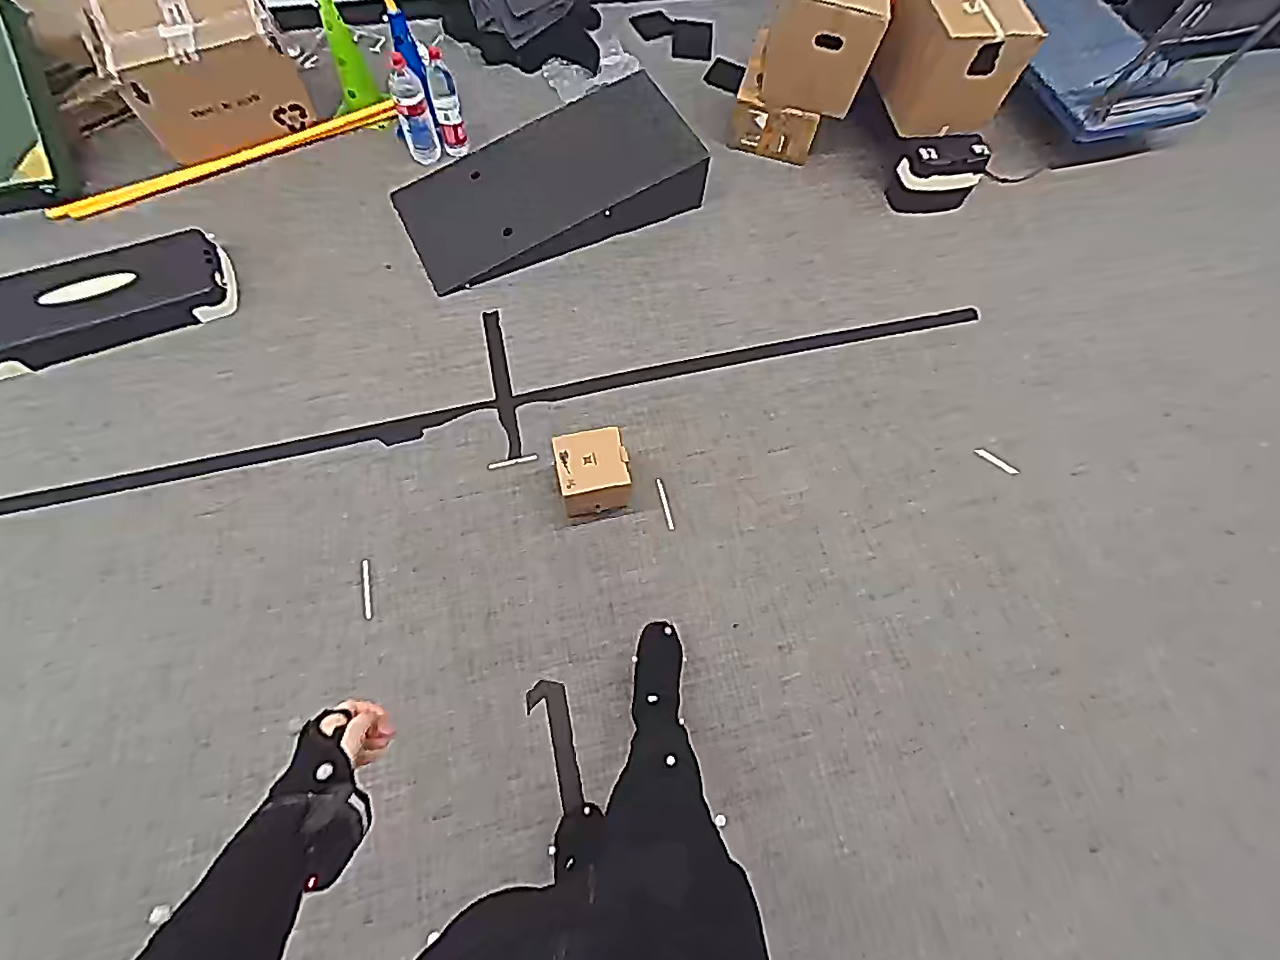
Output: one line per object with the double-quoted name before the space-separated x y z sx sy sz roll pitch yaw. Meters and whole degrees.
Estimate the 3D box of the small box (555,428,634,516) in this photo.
"small box" -0.123 -0.018 1.424 0.179 0.176 0.168 -10 69 -9
